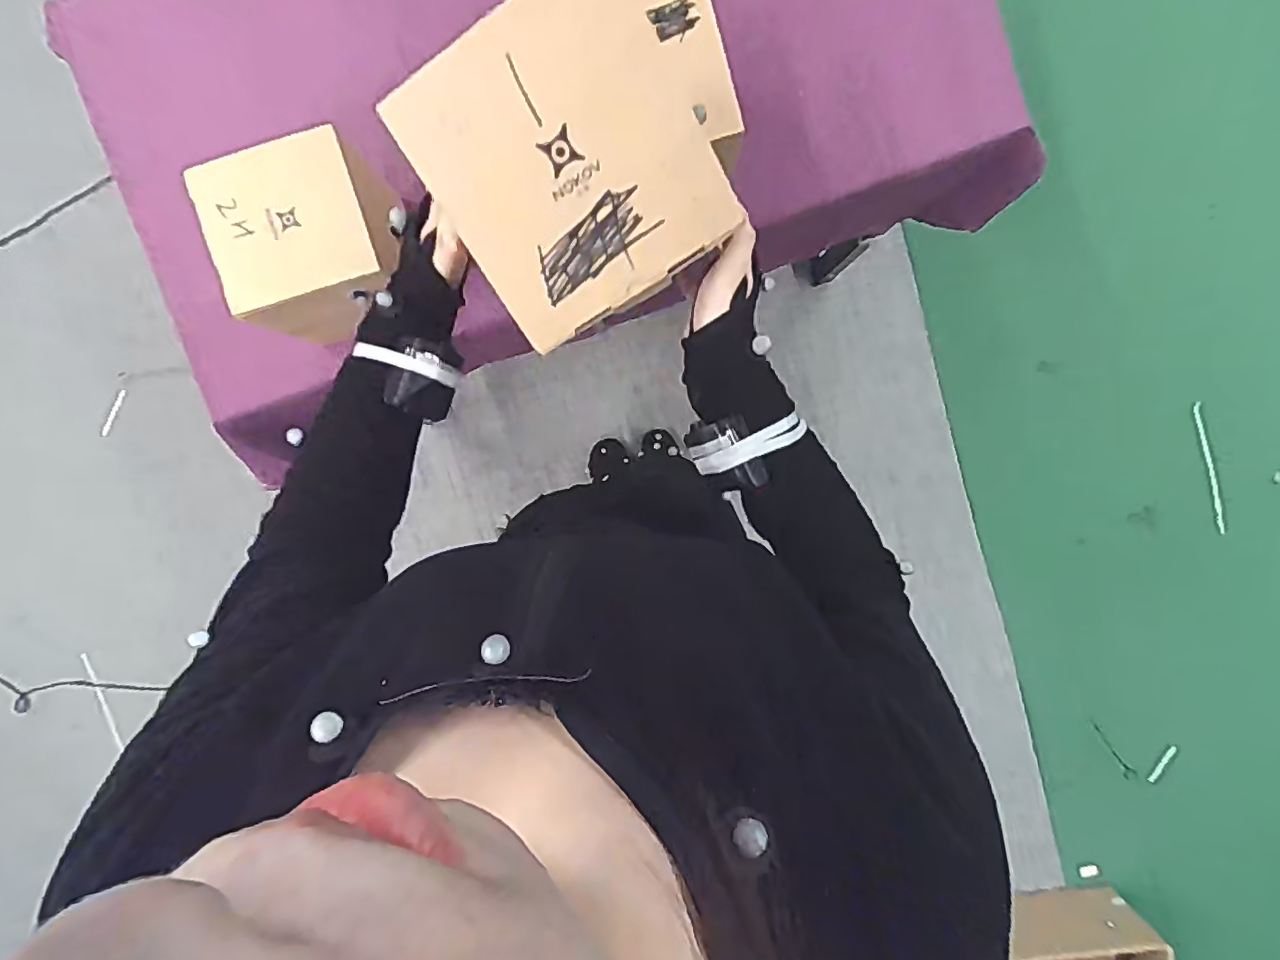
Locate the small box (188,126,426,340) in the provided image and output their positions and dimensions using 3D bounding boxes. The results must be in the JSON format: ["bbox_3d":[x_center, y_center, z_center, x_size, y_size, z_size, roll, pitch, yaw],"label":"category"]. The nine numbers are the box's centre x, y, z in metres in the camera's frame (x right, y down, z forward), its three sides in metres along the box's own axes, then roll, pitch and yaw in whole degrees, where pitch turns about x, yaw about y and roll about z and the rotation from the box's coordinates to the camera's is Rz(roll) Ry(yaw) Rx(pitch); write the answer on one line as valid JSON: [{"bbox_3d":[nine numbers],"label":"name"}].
[{"bbox_3d":[-0.390,-0.289,0.673,0.179,0.176,0.168,-16,93,2],"label":"small box"}]
